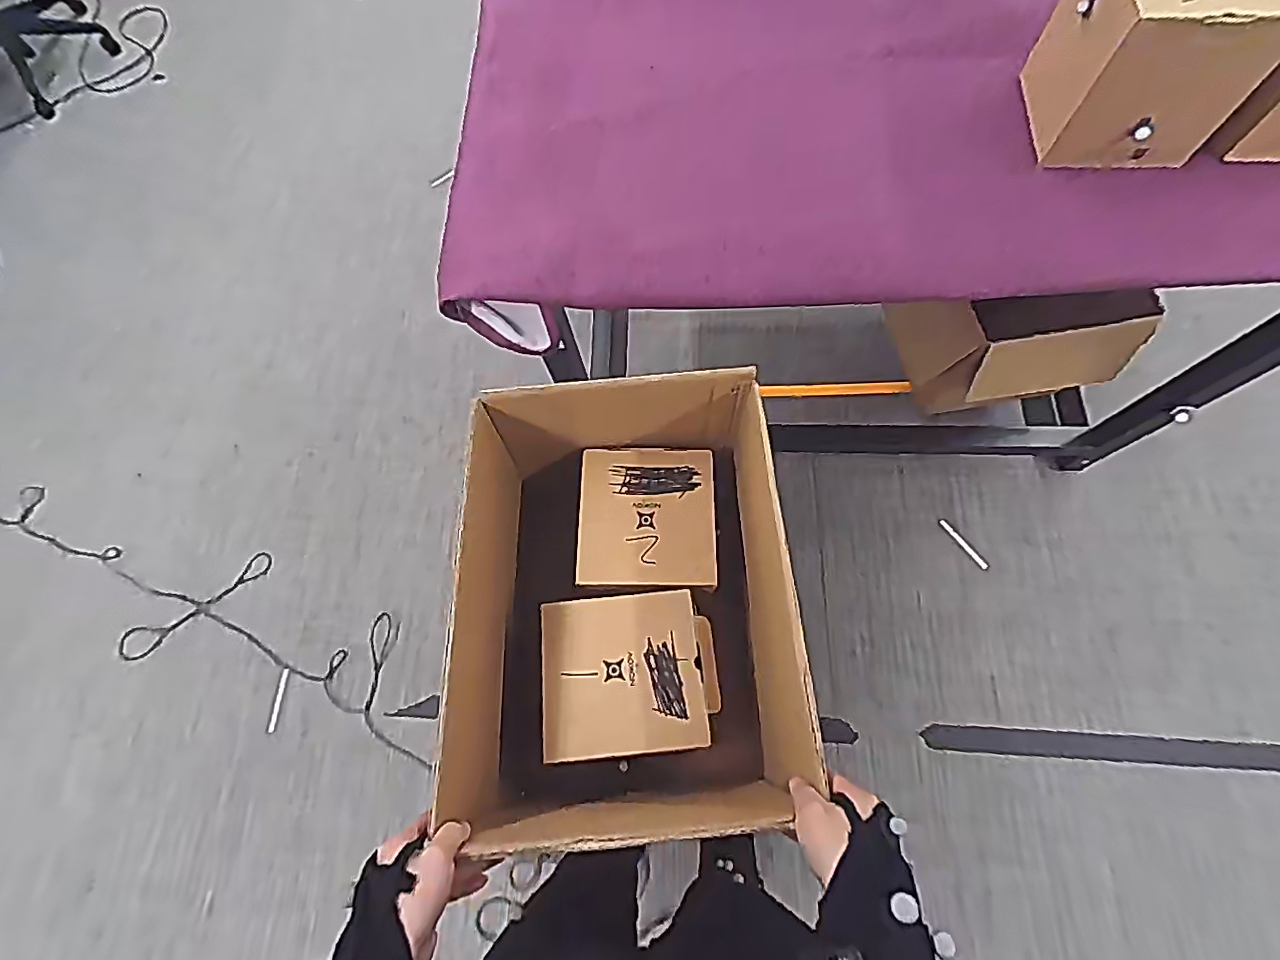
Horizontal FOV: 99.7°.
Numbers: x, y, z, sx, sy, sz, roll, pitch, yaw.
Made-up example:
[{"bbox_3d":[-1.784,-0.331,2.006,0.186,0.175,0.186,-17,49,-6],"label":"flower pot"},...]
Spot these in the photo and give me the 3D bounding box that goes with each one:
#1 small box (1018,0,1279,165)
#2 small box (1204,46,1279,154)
[{"bbox_3d":[0.580,-0.506,0.632,0.168,0.176,0.179,3,70,7],"label":"small box"},{"bbox_3d":[0.790,-0.506,0.613,0.168,0.176,0.179,3,70,7],"label":"small box"}]
